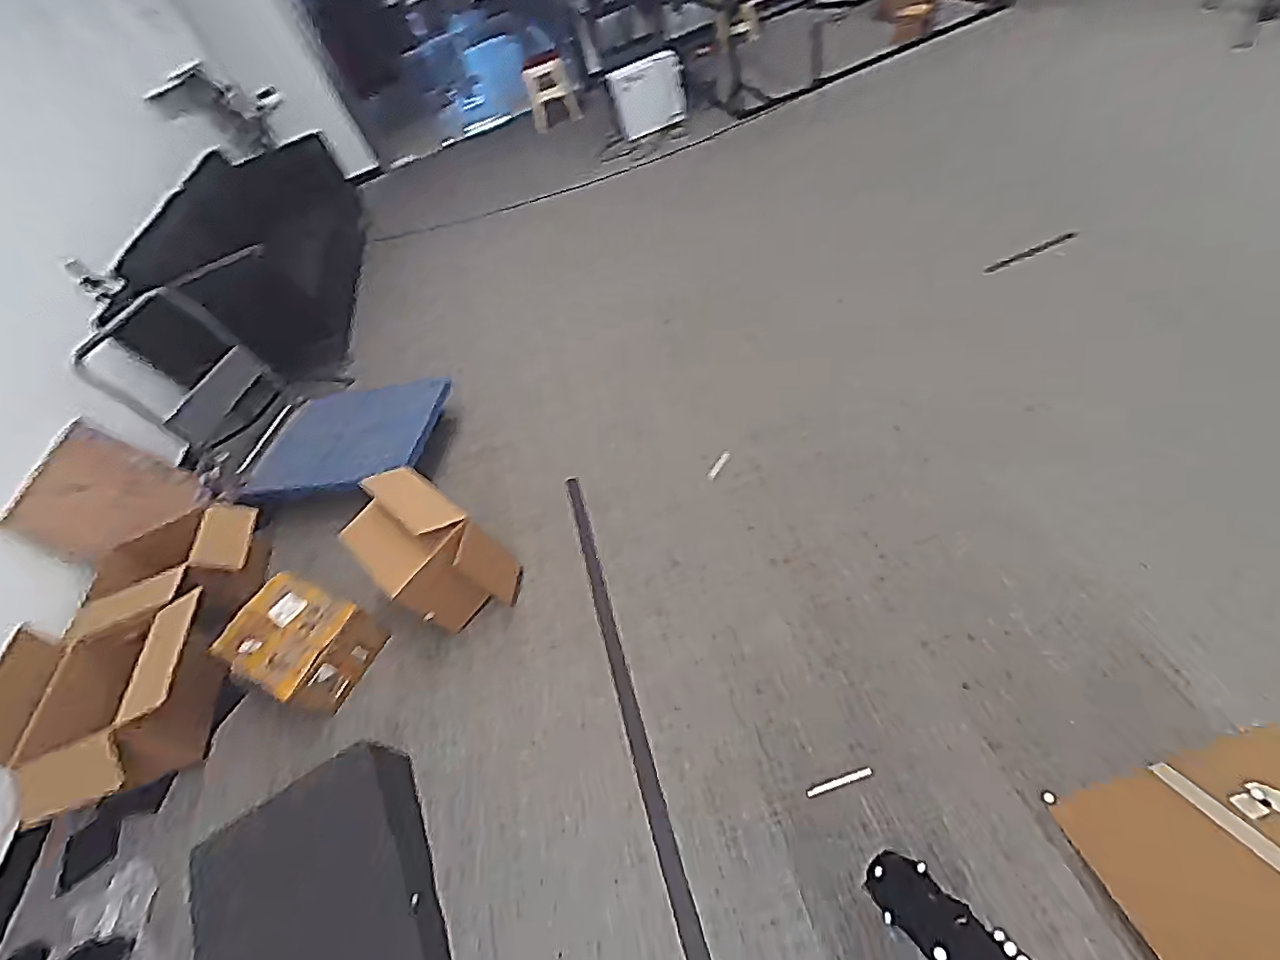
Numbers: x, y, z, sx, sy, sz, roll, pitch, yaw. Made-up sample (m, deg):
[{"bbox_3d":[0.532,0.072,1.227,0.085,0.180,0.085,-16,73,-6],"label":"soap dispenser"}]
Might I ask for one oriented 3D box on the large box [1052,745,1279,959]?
[{"bbox_3d":[0.750,0.551,0.552,0.320,0.408,0.320,-30,78,14],"label":"large box"}]
